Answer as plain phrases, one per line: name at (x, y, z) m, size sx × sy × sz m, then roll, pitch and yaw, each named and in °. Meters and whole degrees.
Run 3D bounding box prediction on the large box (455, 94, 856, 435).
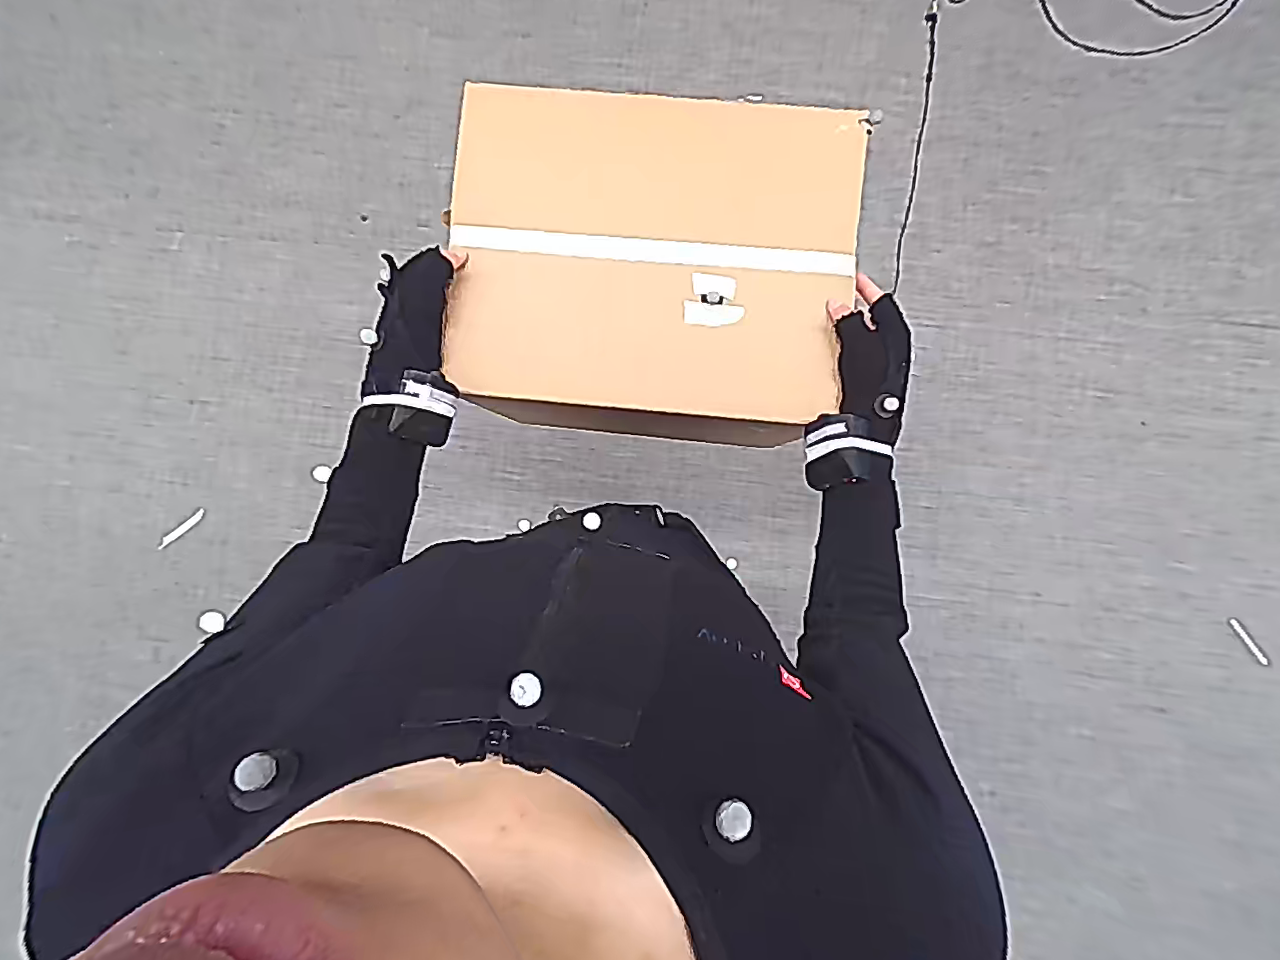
large box at (0.016, -0.236, 0.707) m, size 0.408 × 0.320 × 0.320 m, roll 5°, pitch 91°, yaw 1°
